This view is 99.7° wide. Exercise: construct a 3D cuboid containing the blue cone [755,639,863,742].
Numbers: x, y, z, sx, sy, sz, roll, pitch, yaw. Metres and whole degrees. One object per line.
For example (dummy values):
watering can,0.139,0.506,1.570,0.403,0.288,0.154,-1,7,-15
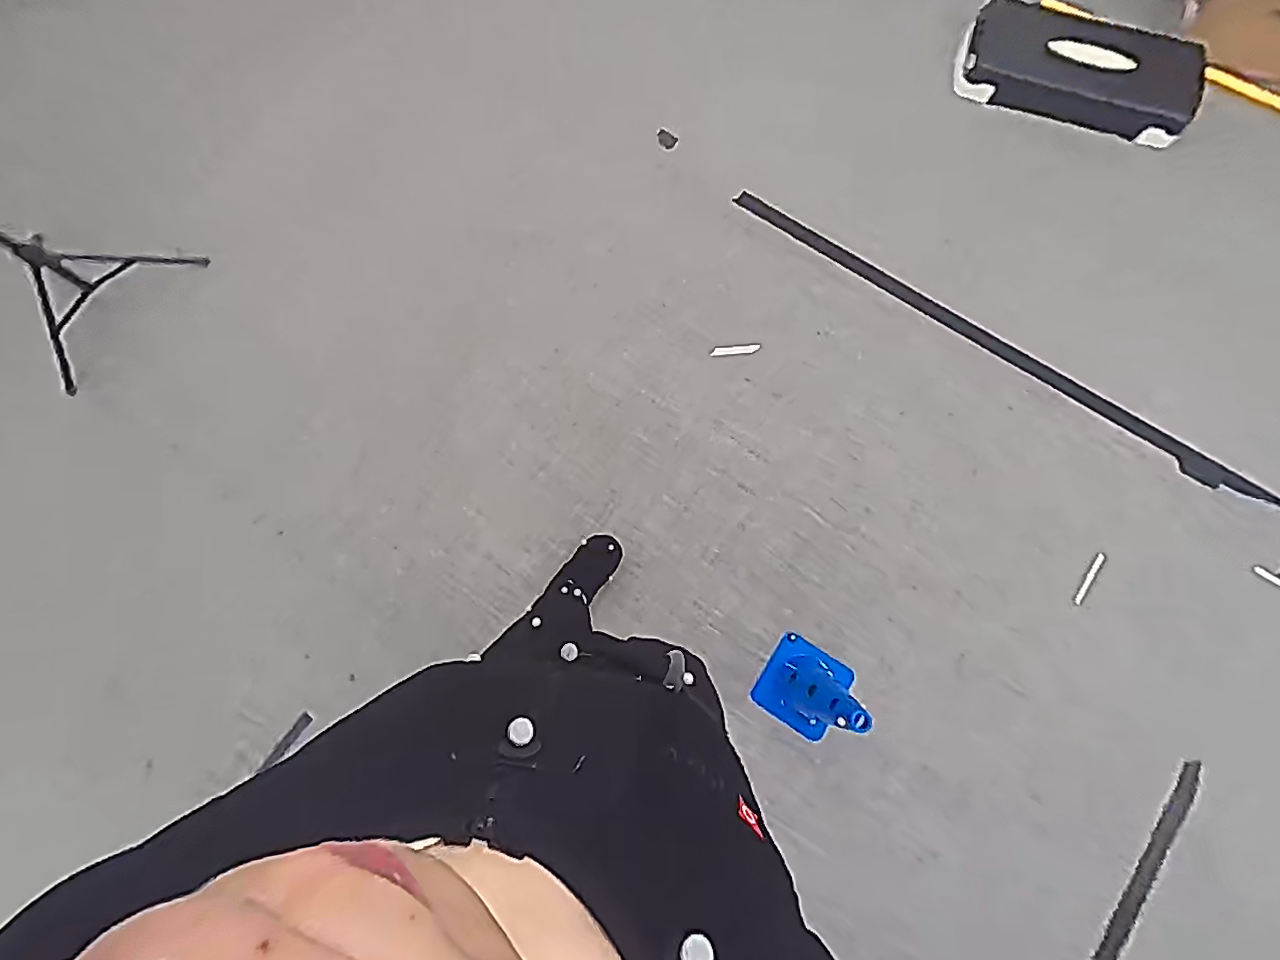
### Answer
blue cone,0.396,0.481,1.155,0.192,0.380,0.193,34,81,7
